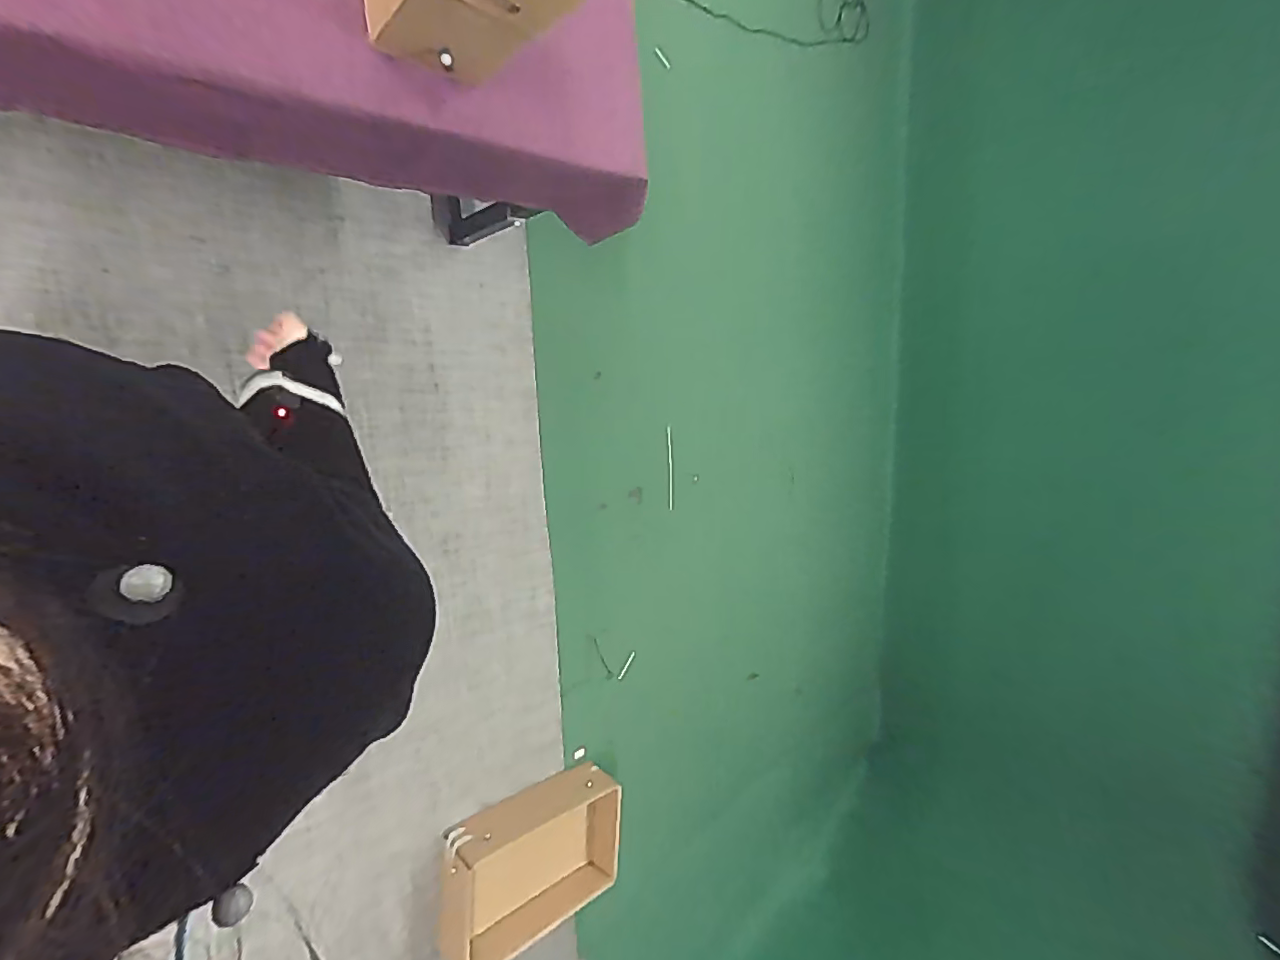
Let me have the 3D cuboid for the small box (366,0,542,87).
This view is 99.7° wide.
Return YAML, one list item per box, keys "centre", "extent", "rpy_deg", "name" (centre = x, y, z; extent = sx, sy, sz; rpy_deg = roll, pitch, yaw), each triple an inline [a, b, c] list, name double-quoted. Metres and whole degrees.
- centre: [-0.247, -0.663, 0.701]
  extent: [0.168, 0.176, 0.179]
  rpy_deg: [-13, 105, -43]
  name: "small box"

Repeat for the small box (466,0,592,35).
- centre: [-0.130, -0.648, 0.589]
  extent: [0.168, 0.176, 0.179]
  rpy_deg: [-13, 105, -44]
  name: "small box"
